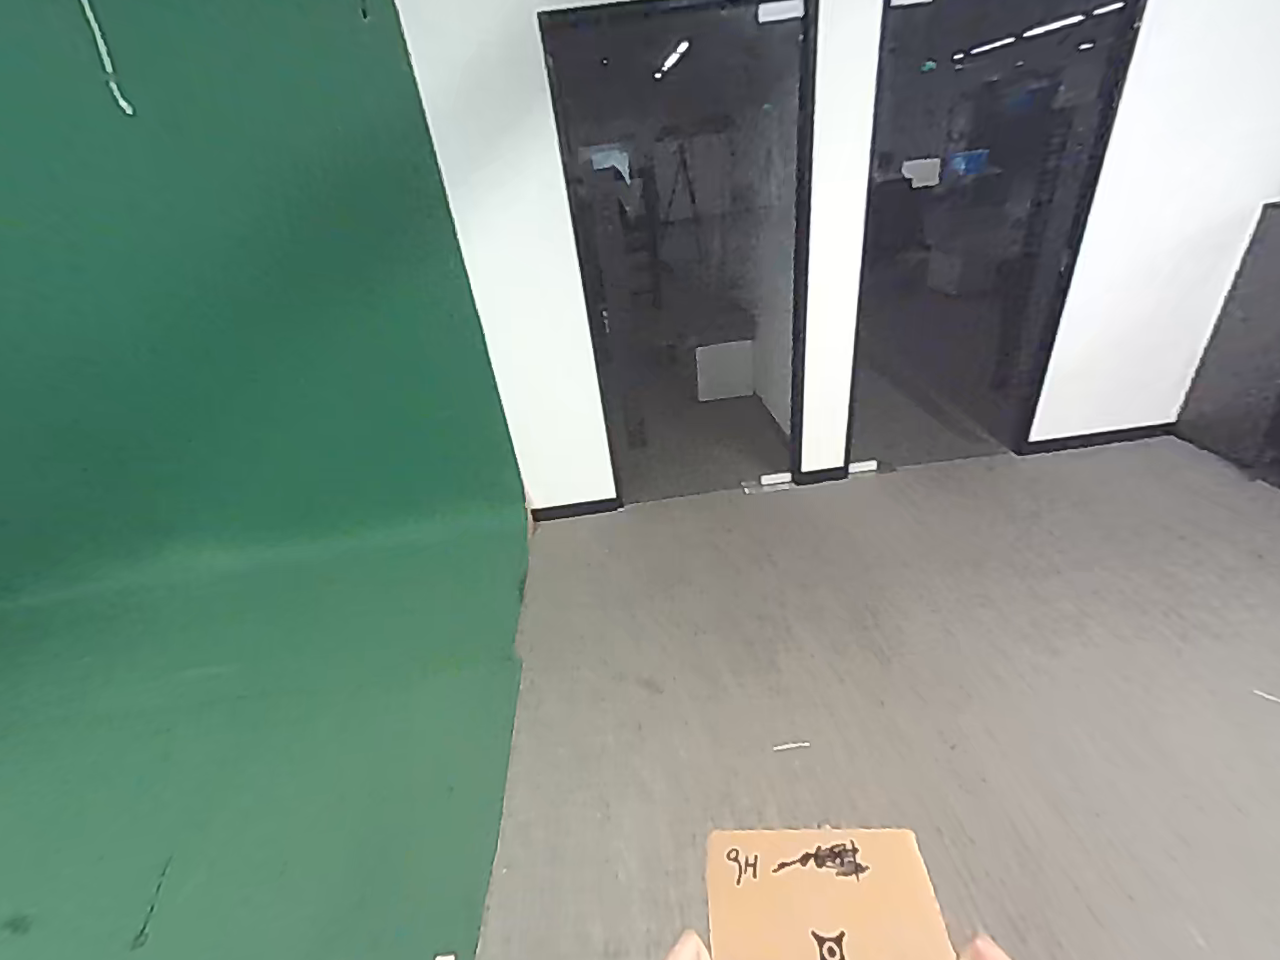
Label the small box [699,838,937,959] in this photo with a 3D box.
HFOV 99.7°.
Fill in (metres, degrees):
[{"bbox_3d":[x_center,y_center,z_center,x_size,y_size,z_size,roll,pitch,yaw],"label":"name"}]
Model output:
[{"bbox_3d":[0.136,0.409,0.420,0.168,0.176,0.179,-4,36,7],"label":"small box"}]
